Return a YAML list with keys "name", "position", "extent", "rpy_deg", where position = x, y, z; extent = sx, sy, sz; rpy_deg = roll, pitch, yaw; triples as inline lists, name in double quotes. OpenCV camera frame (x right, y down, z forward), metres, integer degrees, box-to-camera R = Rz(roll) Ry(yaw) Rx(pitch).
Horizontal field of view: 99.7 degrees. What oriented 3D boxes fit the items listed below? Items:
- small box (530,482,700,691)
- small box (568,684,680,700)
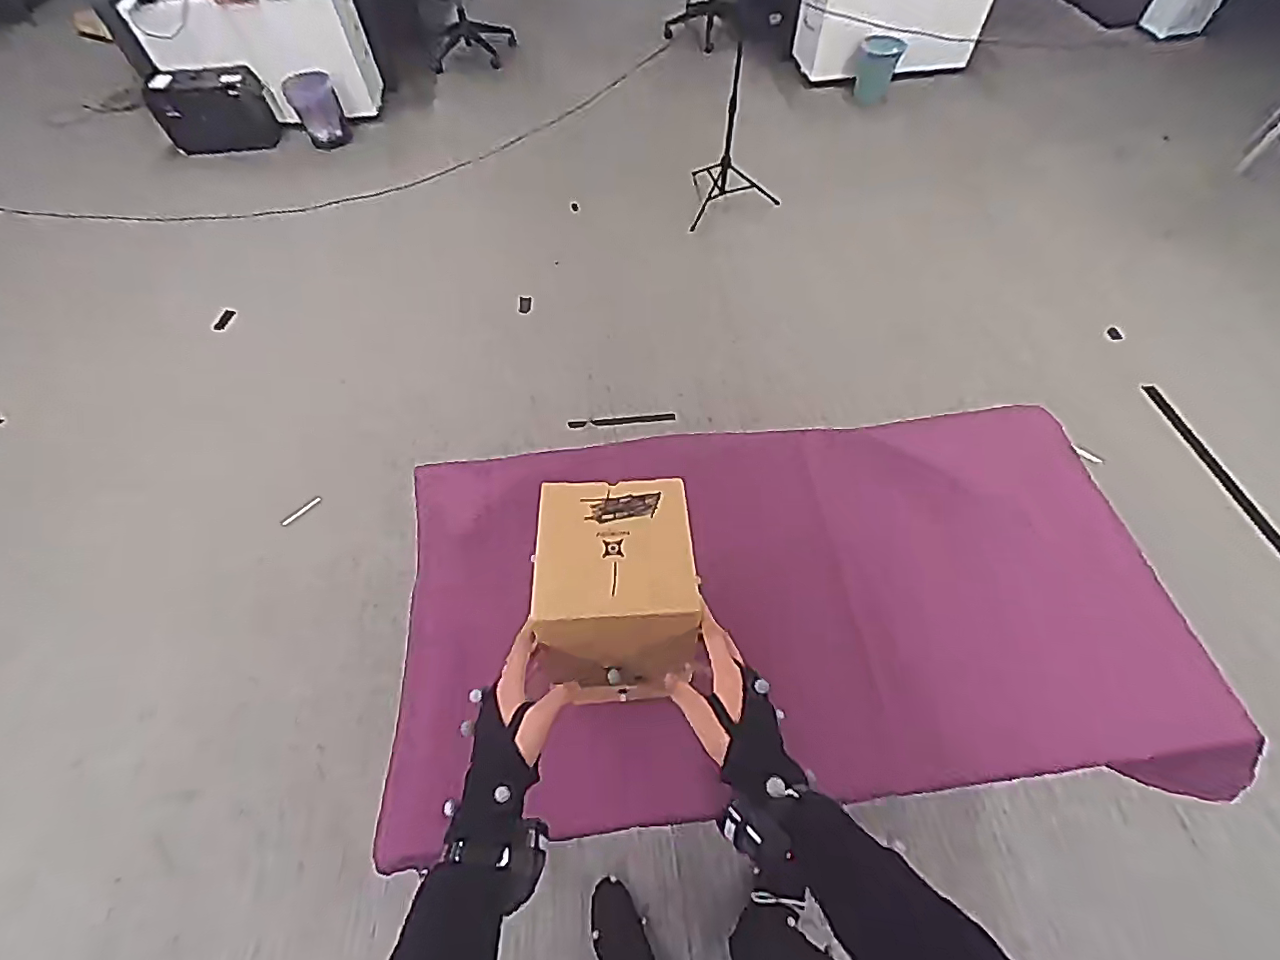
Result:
- name: "small box"
  position: [-0.027, 0.122, 0.627]
  extent: [0.168, 0.176, 0.179]
  rpy_deg: [-2, 46, -2]
- name: "small box"
  position: [-0.027, 0.214, 0.785]
  extent: [0.168, 0.176, 0.179]
  rpy_deg: [-4, 58, -2]
